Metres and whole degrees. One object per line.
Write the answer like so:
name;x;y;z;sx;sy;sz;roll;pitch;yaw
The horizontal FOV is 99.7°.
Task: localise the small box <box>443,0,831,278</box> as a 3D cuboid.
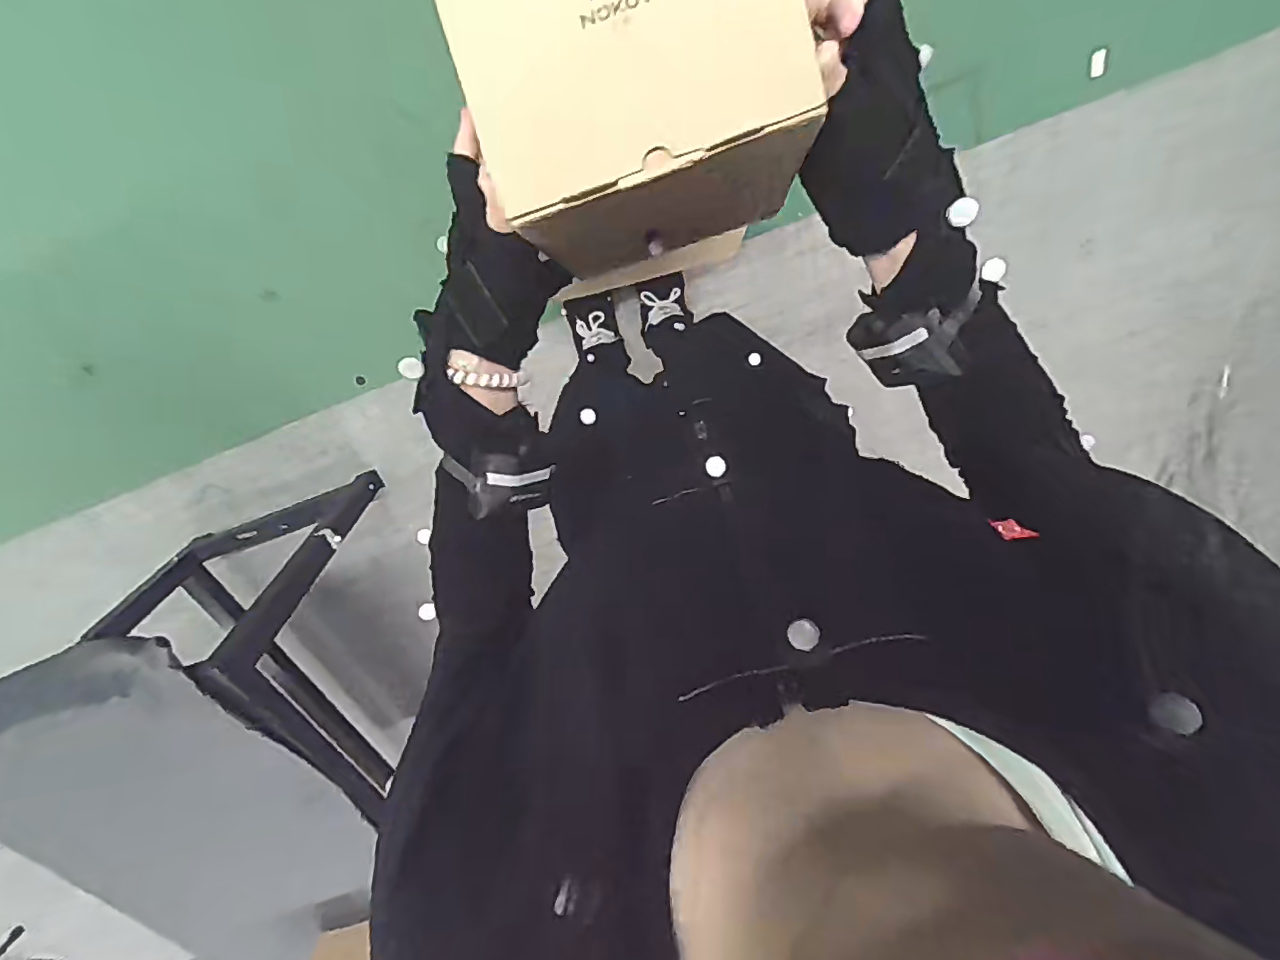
small box;-0.003;-0.246;0.329;0.168;0.176;0.179;-16;99;10
